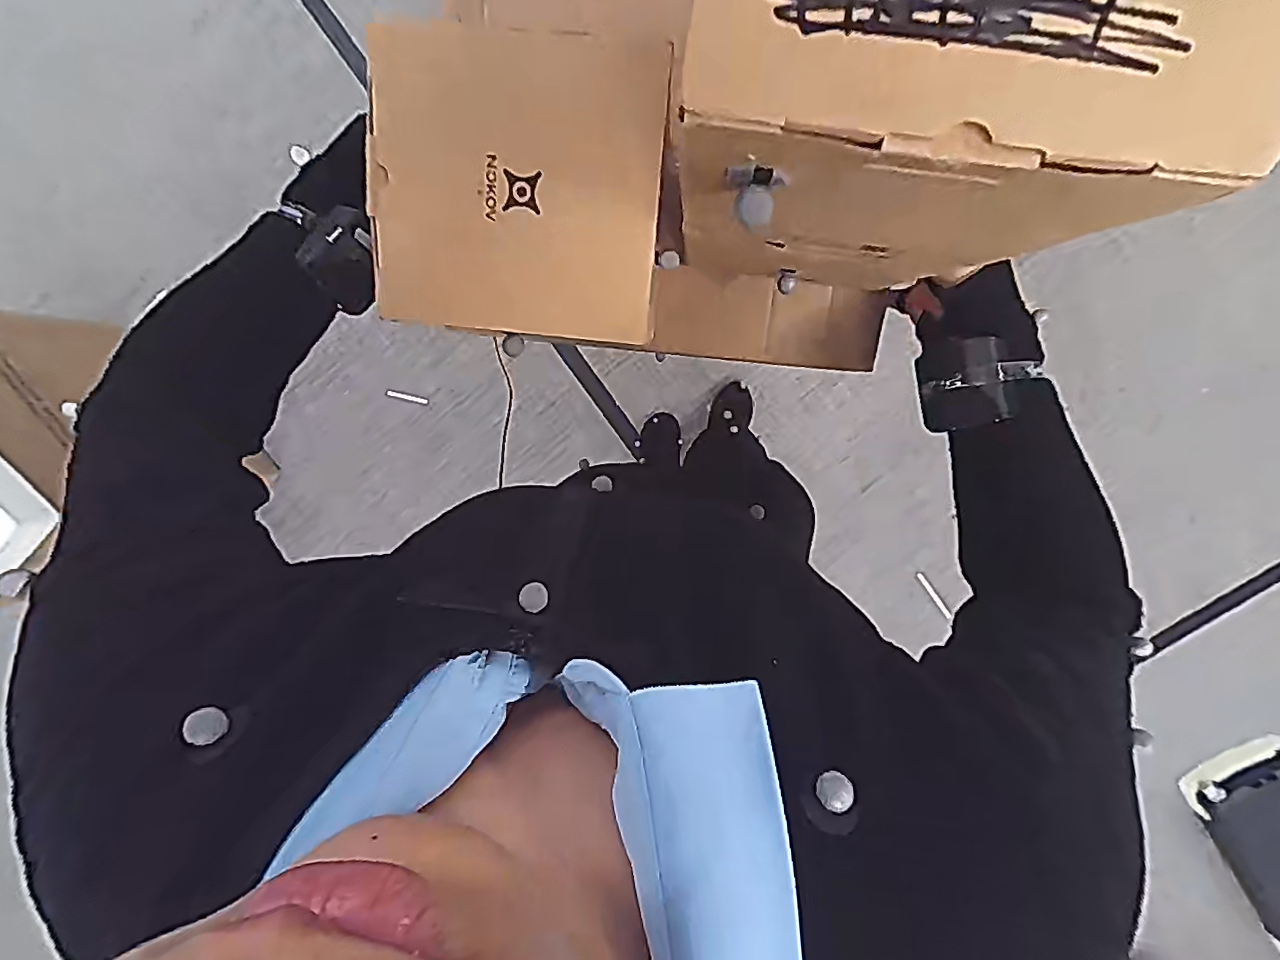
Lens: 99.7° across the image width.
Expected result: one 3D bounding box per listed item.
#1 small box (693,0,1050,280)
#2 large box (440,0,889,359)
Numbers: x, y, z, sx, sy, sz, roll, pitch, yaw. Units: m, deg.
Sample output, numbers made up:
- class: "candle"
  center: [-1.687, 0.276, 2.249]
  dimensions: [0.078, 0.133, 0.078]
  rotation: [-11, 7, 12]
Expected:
- class: "small box"
  center: [0.127, -0.243, 0.358]
  dimensions: [0.168, 0.176, 0.179]
  rotation: [8, 105, 4]
- class: "large box"
  center: [0.039, -0.311, 0.603]
  dimensions: [0.408, 0.320, 0.320]
  rotation: [5, 104, 4]
